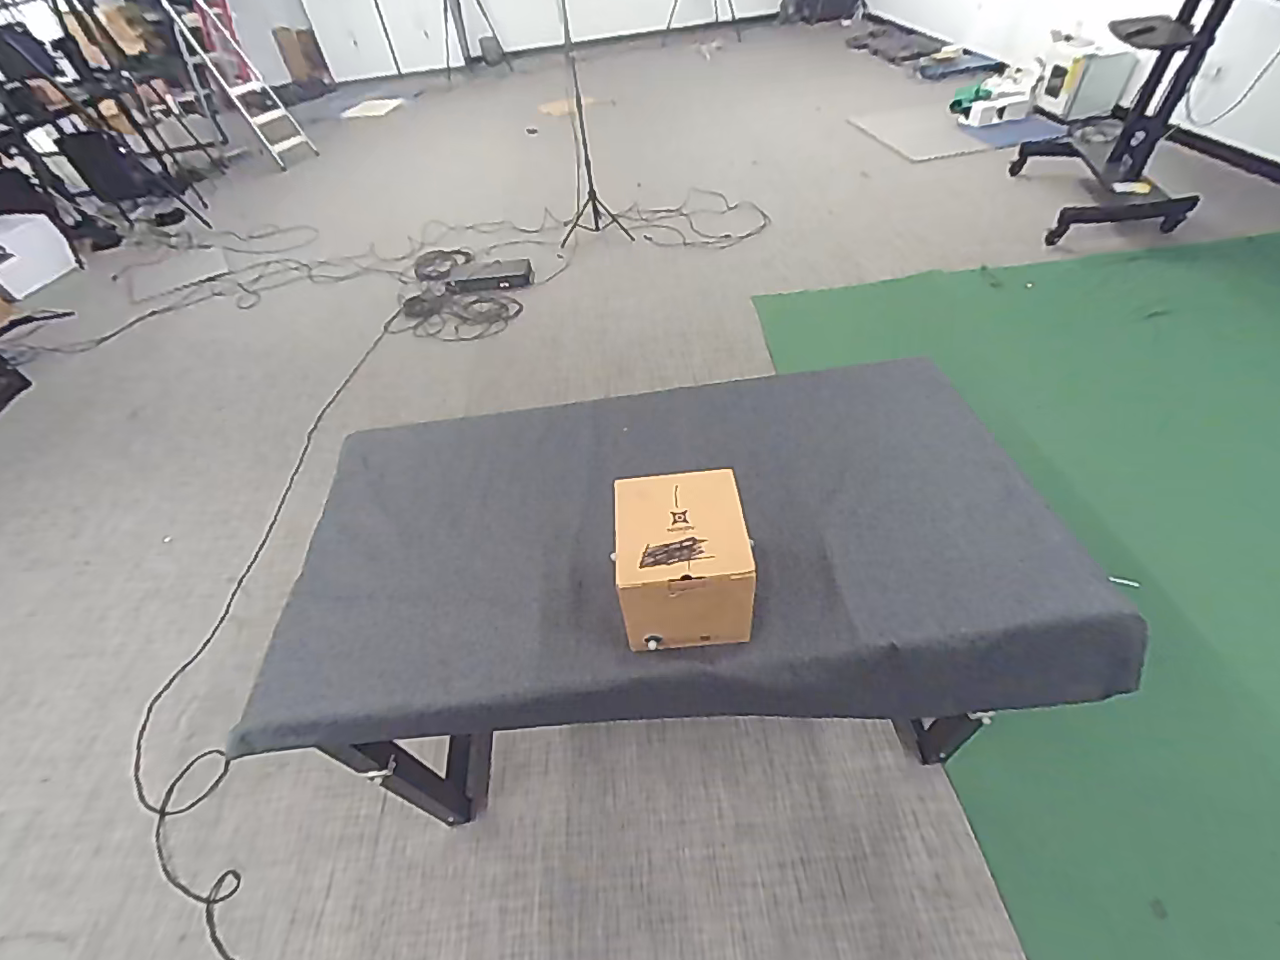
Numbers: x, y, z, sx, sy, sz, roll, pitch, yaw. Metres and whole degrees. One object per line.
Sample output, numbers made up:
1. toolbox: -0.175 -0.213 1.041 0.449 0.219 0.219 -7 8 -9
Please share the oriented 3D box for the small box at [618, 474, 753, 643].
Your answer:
1. small box: 0.061 0.116 0.757 0.168 0.176 0.179 -4 45 2
